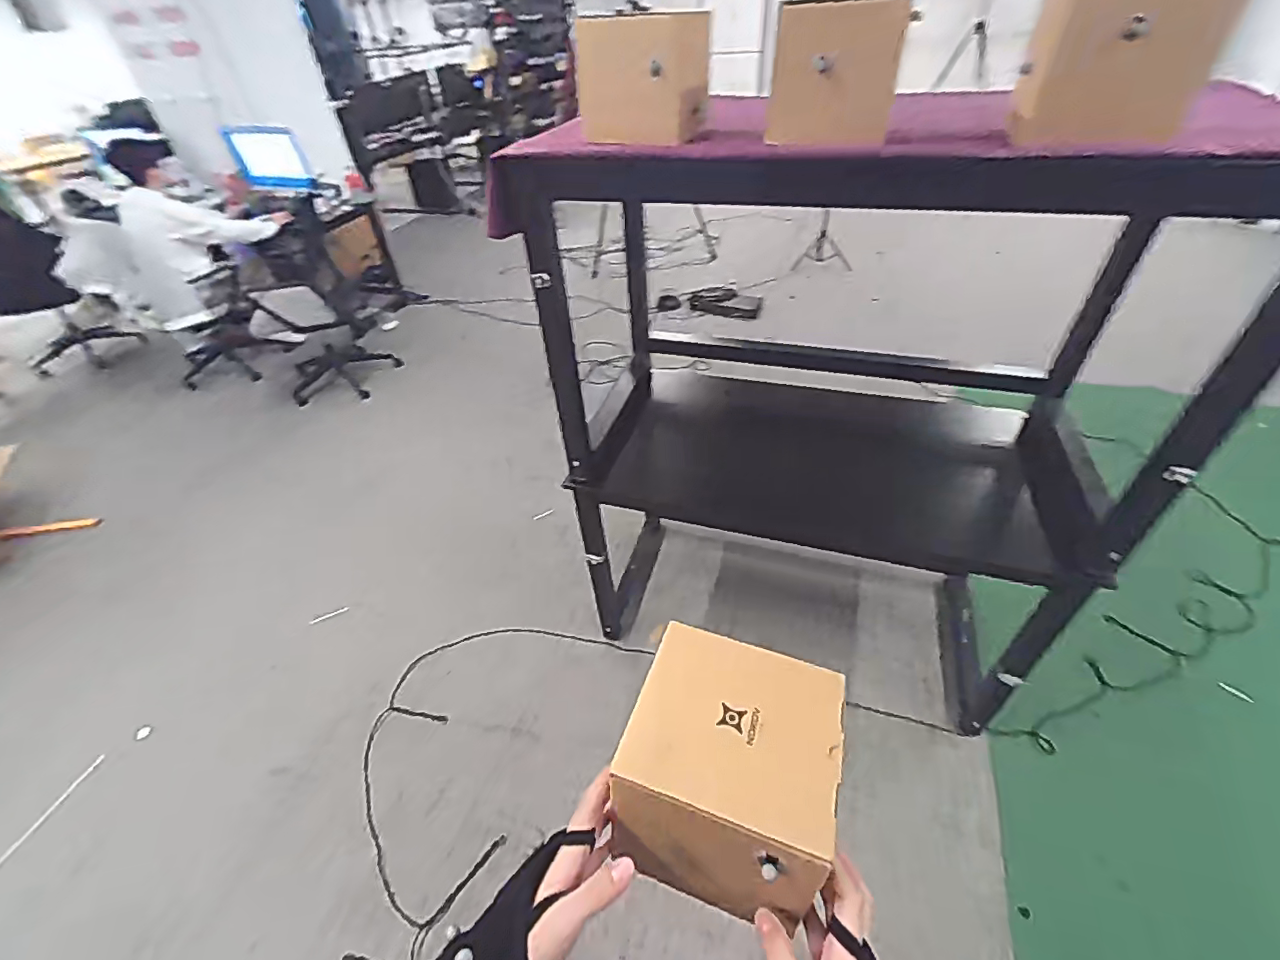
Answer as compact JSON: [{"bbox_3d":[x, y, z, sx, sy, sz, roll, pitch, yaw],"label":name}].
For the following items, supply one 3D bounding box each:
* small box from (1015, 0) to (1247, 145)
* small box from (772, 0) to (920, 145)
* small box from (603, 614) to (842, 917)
[{"bbox_3d":[0.615,-0.545,0.698,0.179,0.176,0.168,10,44,17],"label":"small box"},{"bbox_3d":[0.302,-0.610,0.806,0.179,0.176,0.168,12,43,19],"label":"small box"},{"bbox_3d":[0.076,0.261,0.506,0.179,0.176,0.168,13,37,15],"label":"small box"}]
